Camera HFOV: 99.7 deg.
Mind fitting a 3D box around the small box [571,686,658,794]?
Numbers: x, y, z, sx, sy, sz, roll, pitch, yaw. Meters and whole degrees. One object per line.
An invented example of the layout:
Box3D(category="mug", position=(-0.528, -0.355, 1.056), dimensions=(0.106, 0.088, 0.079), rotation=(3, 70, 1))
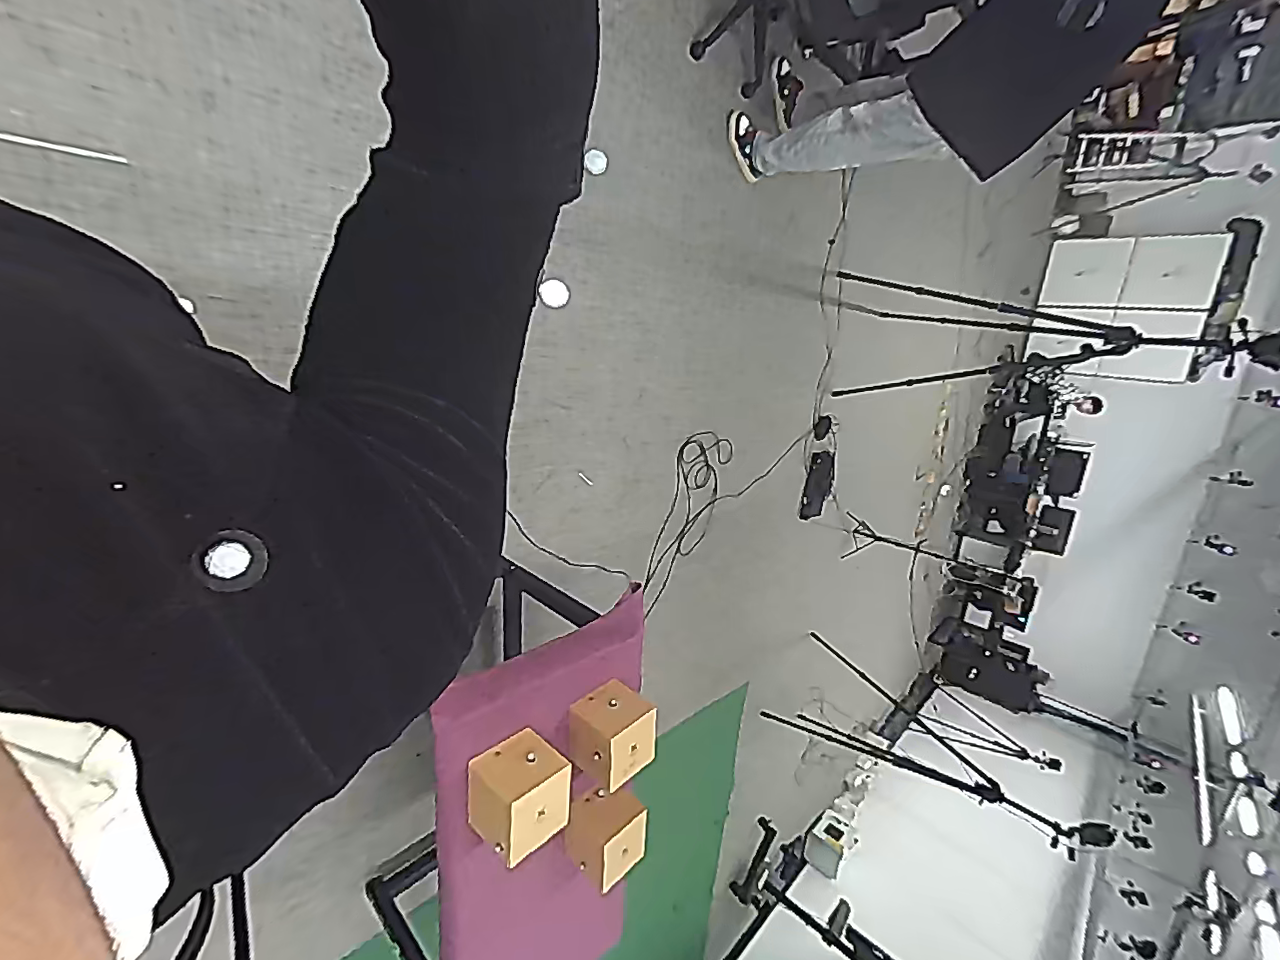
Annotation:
Box3D(category="small box", position=(-0.071, 0.679, 1.443), dimensions=(0.168, 0.176, 0.179), rotation=(-16, 115, -44))

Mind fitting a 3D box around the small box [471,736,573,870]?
Box3D(category="small box", position=(-0.271, 0.721, 1.236), dimensions=(0.168, 0.176, 0.179), rotation=(-12, 113, -47))

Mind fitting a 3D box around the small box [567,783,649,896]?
Box3D(category="small box", position=(-0.093, 1.004, 1.533), dimensions=(0.168, 0.176, 0.179), rotation=(-14, 112, -45))
